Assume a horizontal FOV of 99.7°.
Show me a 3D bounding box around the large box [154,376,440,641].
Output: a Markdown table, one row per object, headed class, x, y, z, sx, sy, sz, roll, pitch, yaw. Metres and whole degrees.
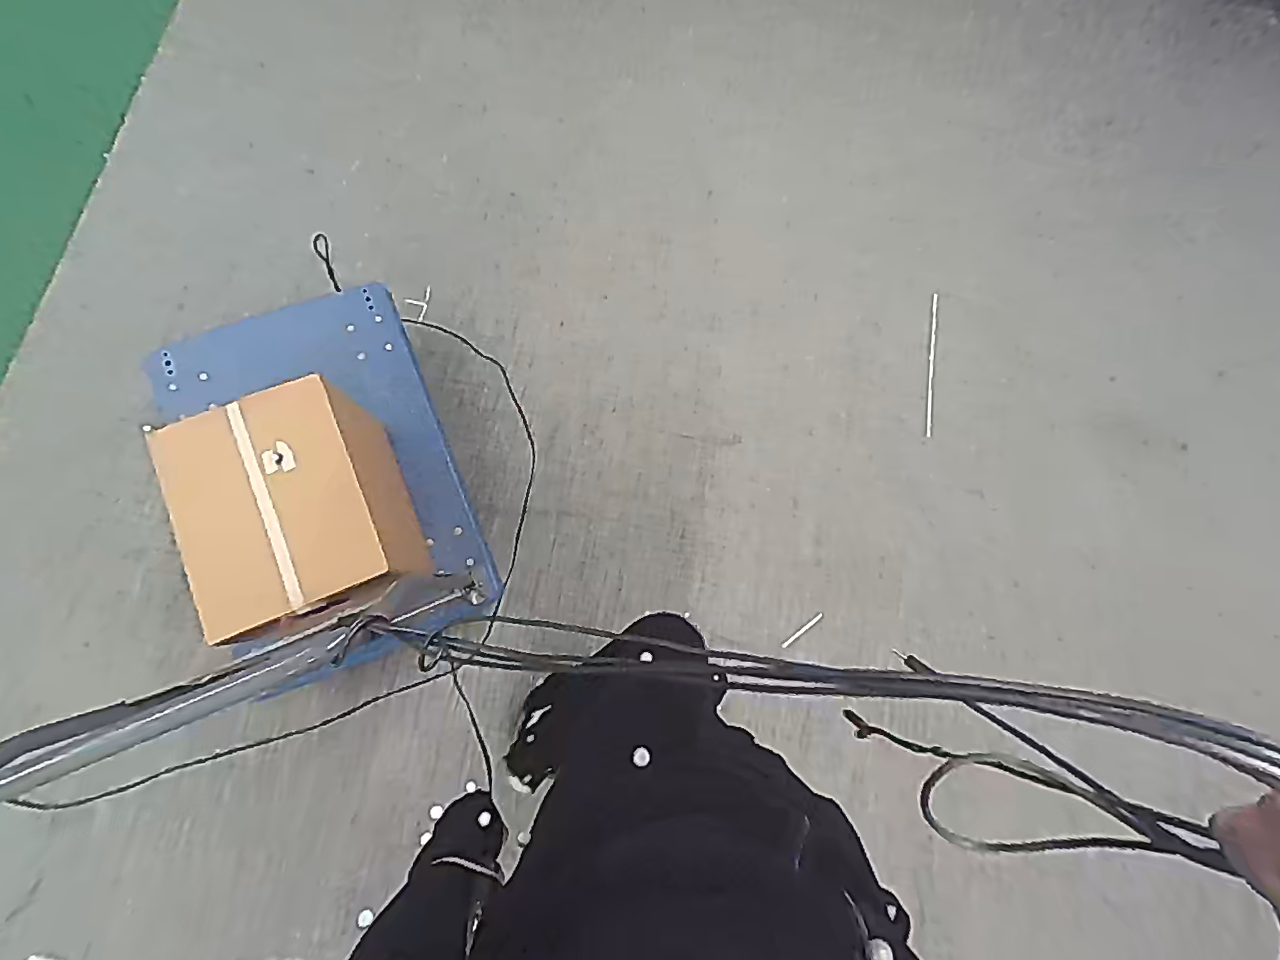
| class | x | y | z | sx | sy | sz | roll | pitch | yaw |
| --- | --- | --- | --- | --- | --- | --- | --- | --- | --- |
| large box | -0.665 | 0.069 | 1.107 | 0.320 | 0.320 | 0.408 | -23 | 80 | -9 |
